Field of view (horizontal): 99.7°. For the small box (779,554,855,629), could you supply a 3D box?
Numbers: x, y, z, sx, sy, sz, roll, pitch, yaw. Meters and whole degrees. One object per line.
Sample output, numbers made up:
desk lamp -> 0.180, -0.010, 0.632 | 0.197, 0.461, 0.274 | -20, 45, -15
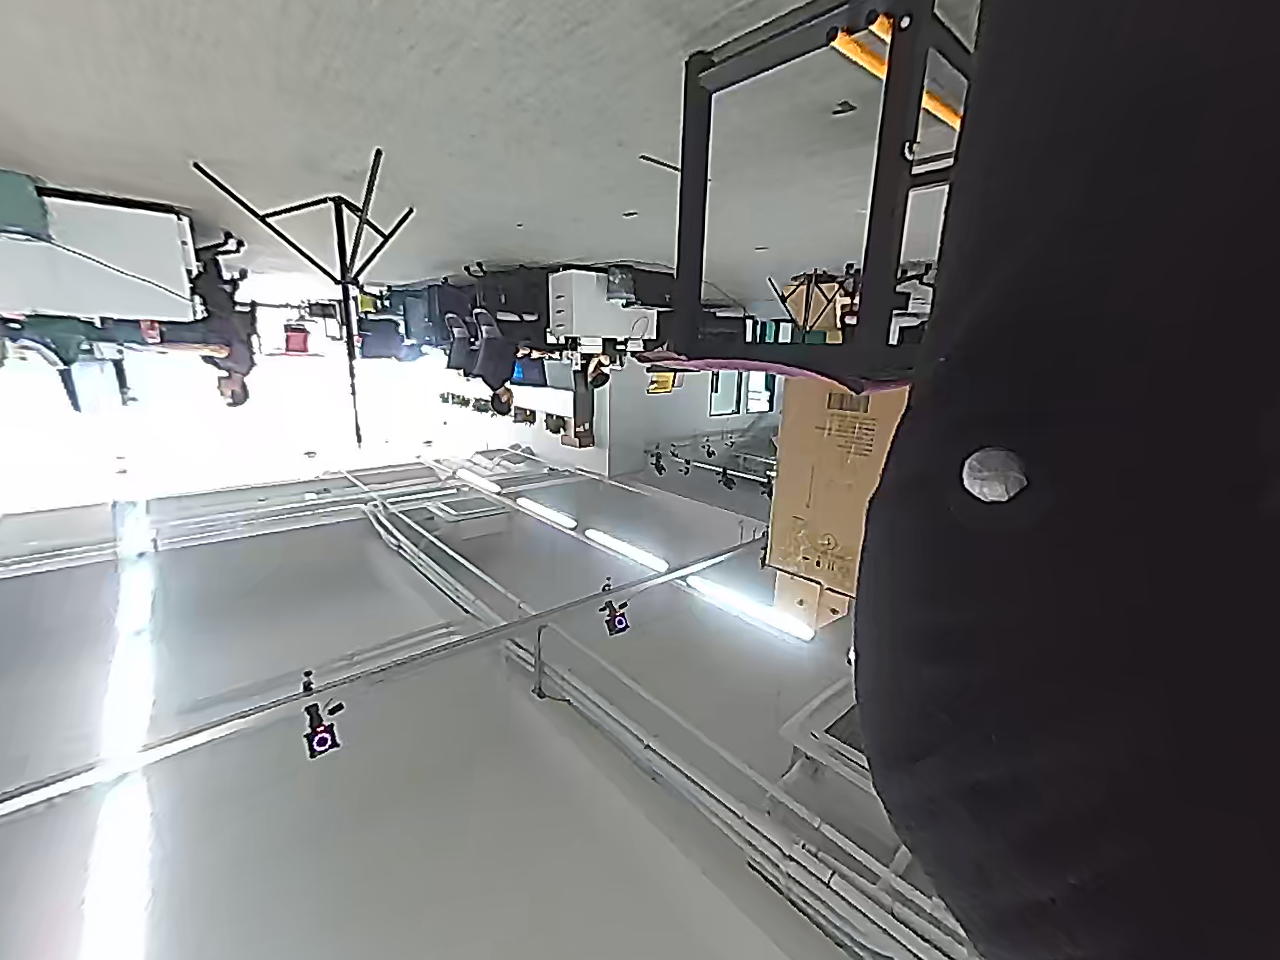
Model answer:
small box -> 0.571, 0.350, 1.749 | 0.179, 0.176, 0.168 | -11, -161, -35
